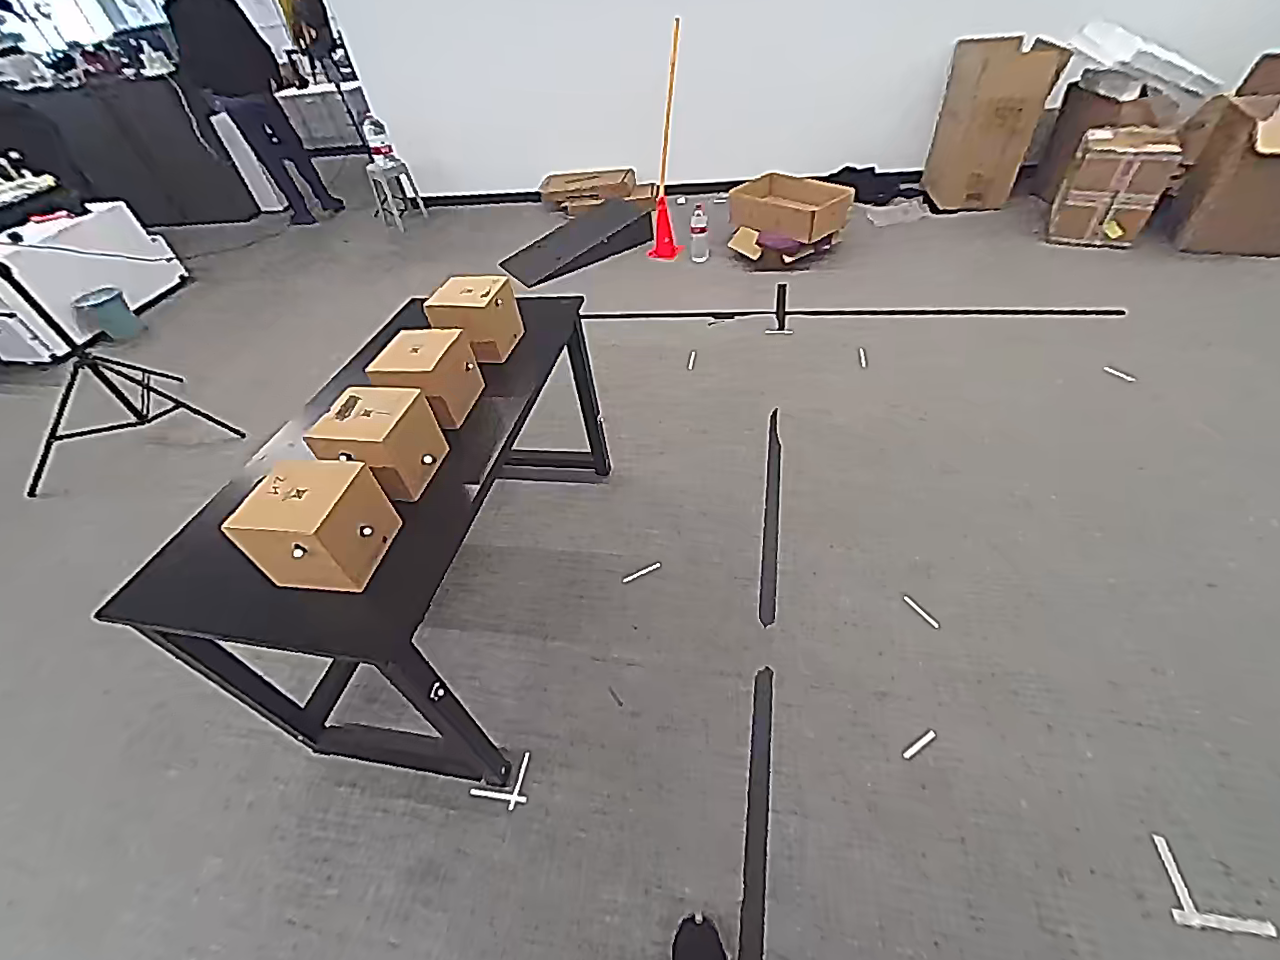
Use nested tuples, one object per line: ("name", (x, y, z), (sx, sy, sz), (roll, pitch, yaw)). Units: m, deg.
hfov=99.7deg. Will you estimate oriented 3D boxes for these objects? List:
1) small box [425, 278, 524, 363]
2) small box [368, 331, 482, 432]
("small box", (-0.441, -0.430, 1.467), (0.179, 0.176, 0.168), (4, 47, 13))
("small box", (-0.497, -0.235, 1.285), (0.168, 0.176, 0.179), (2, 47, 12))
